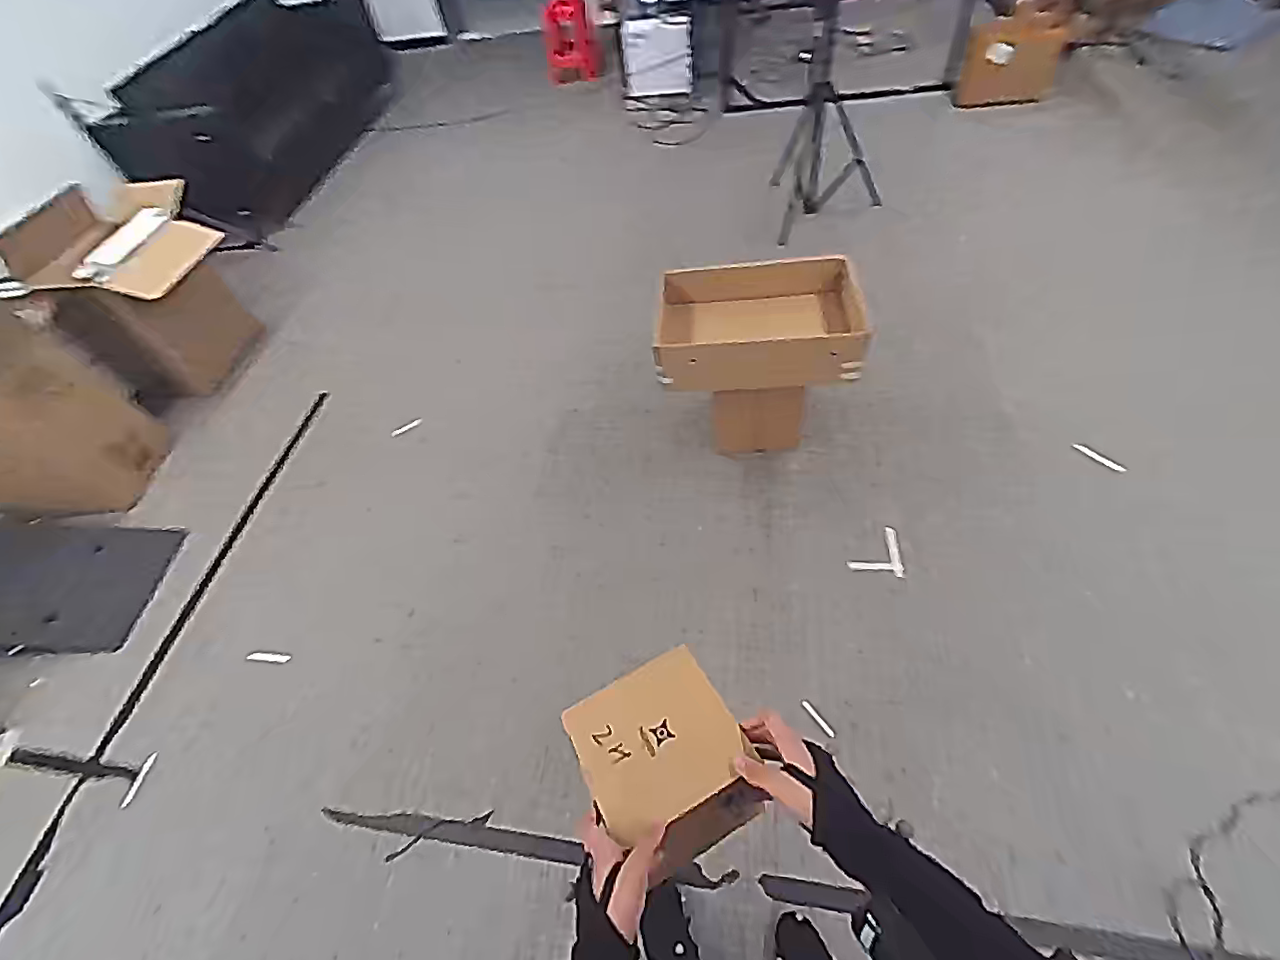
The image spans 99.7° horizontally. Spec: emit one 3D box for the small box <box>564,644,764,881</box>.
[{"bbox_3d":[0.032,0.341,0.656,0.179,0.176,0.168,-25,43,-13],"label":"small box"}]
